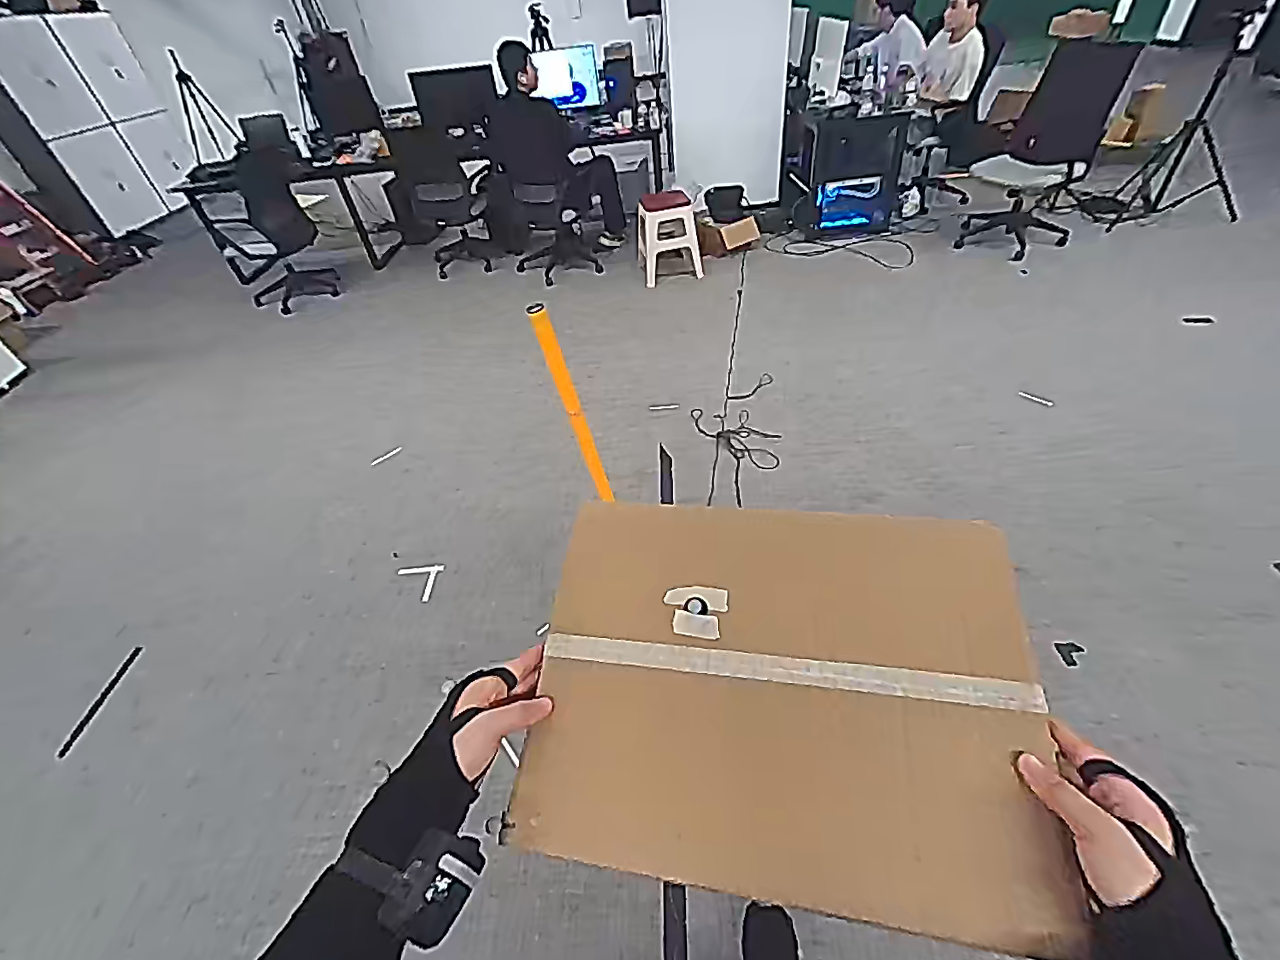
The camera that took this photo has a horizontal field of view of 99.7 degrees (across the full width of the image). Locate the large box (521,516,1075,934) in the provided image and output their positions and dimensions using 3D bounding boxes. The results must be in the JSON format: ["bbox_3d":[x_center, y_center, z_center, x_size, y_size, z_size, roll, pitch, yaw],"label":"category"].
[{"bbox_3d":[0.143,0.250,0.598,0.408,0.320,0.320,1,56,13],"label":"large box"}]
